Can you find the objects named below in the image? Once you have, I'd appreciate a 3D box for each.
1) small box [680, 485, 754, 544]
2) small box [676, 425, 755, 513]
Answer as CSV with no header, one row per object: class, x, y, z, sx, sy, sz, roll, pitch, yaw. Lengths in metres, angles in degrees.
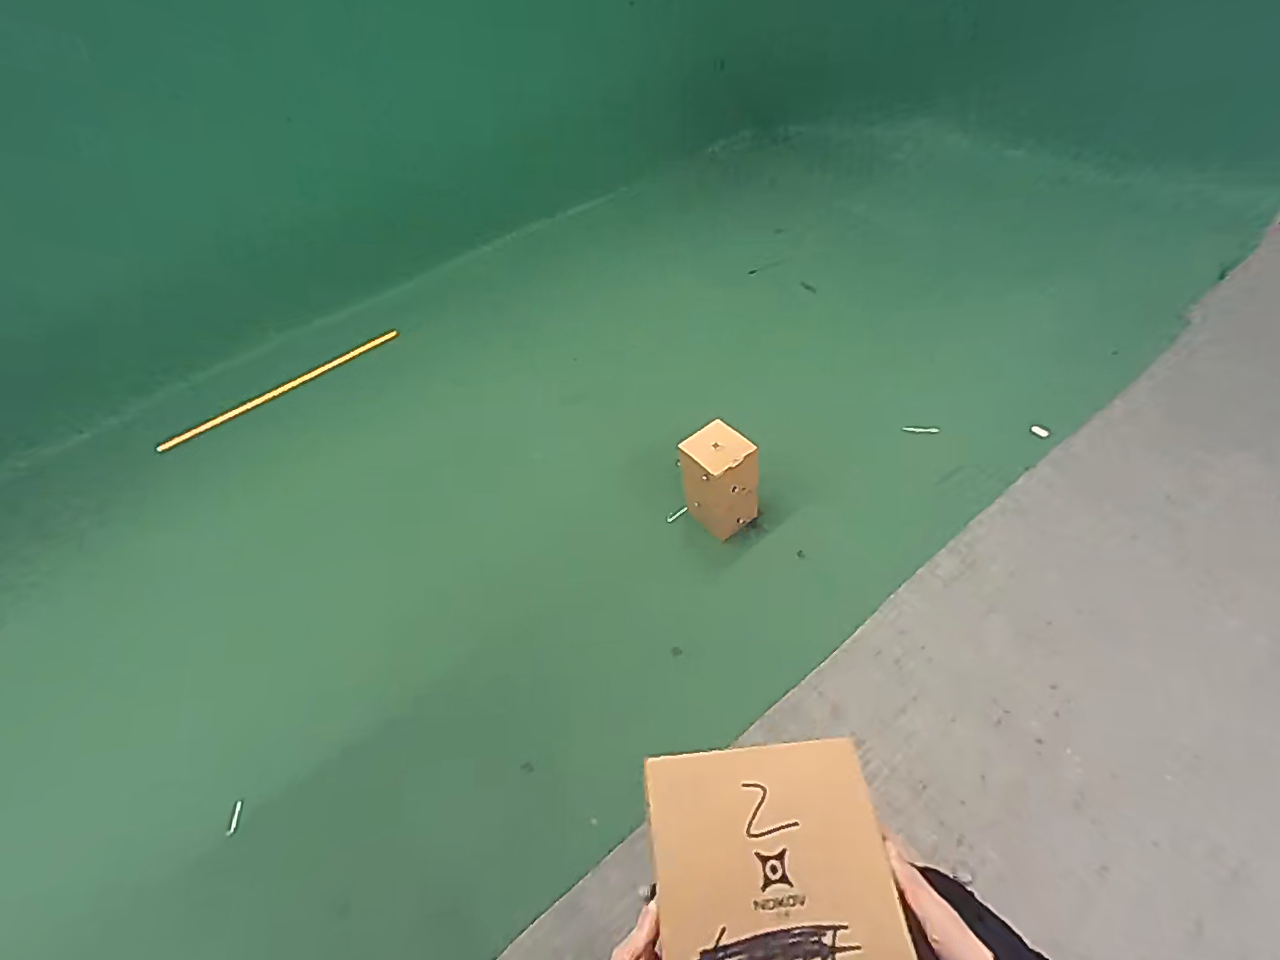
small box,0.252,0.077,1.771,0.168,0.176,0.179,-33,51,-17
small box,0.230,-0.031,1.652,0.168,0.176,0.179,-33,51,-19
